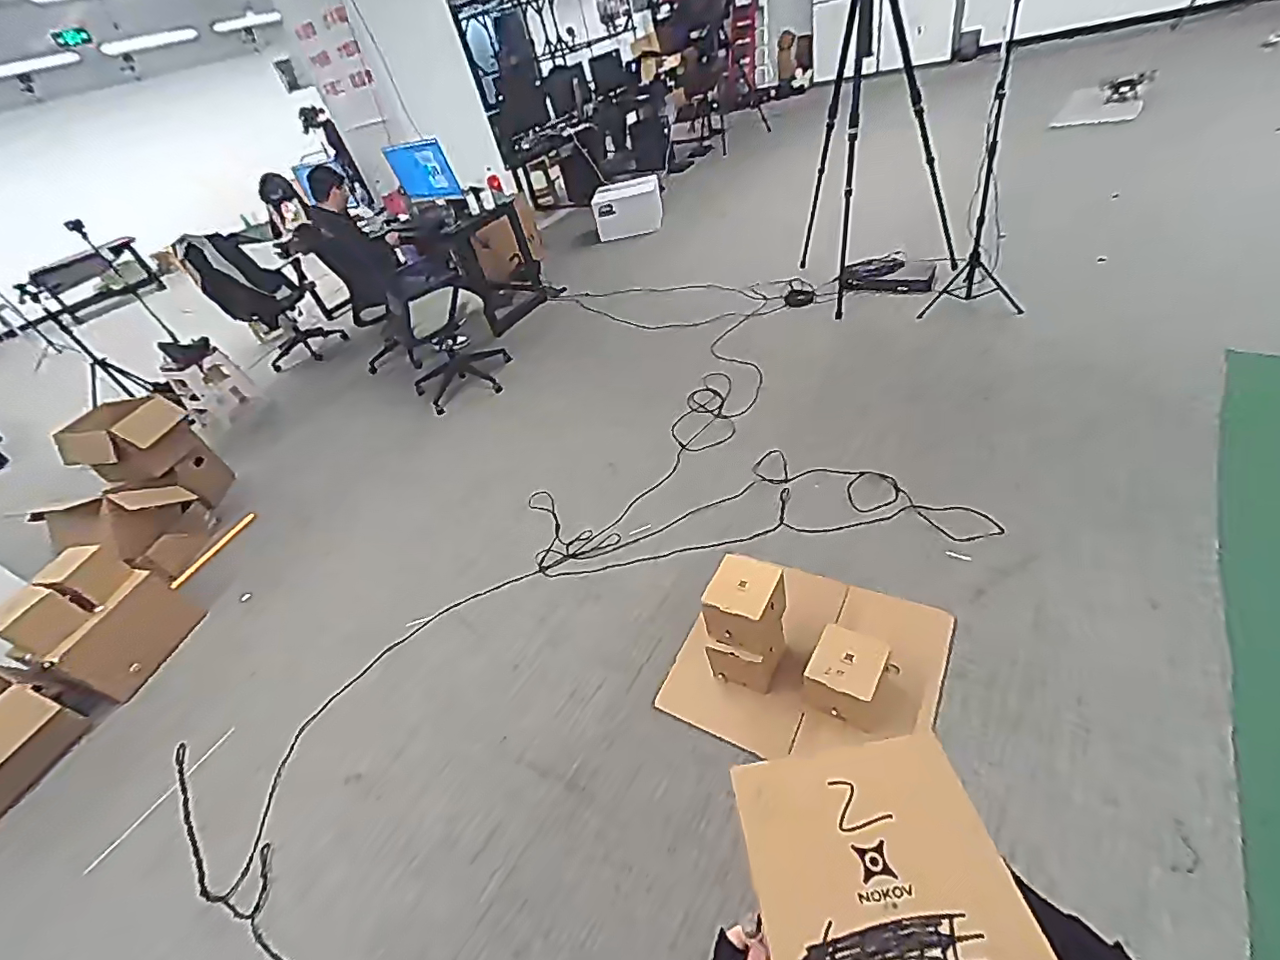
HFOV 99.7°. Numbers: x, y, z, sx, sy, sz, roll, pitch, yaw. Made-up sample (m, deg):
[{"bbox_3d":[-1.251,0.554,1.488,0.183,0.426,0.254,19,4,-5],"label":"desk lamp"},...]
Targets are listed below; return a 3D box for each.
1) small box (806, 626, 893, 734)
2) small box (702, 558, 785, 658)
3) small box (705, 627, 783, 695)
[{"bbox_3d":[0.549,0.525,1.422,0.168,0.176,0.179,15,50,35],"label":"small box"},{"bbox_3d":[0.287,0.346,1.467,0.168,0.176,0.179,13,48,31],"label":"small box"},{"bbox_3d":[0.308,0.484,1.556,0.168,0.176,0.179,10,47,30],"label":"small box"}]
